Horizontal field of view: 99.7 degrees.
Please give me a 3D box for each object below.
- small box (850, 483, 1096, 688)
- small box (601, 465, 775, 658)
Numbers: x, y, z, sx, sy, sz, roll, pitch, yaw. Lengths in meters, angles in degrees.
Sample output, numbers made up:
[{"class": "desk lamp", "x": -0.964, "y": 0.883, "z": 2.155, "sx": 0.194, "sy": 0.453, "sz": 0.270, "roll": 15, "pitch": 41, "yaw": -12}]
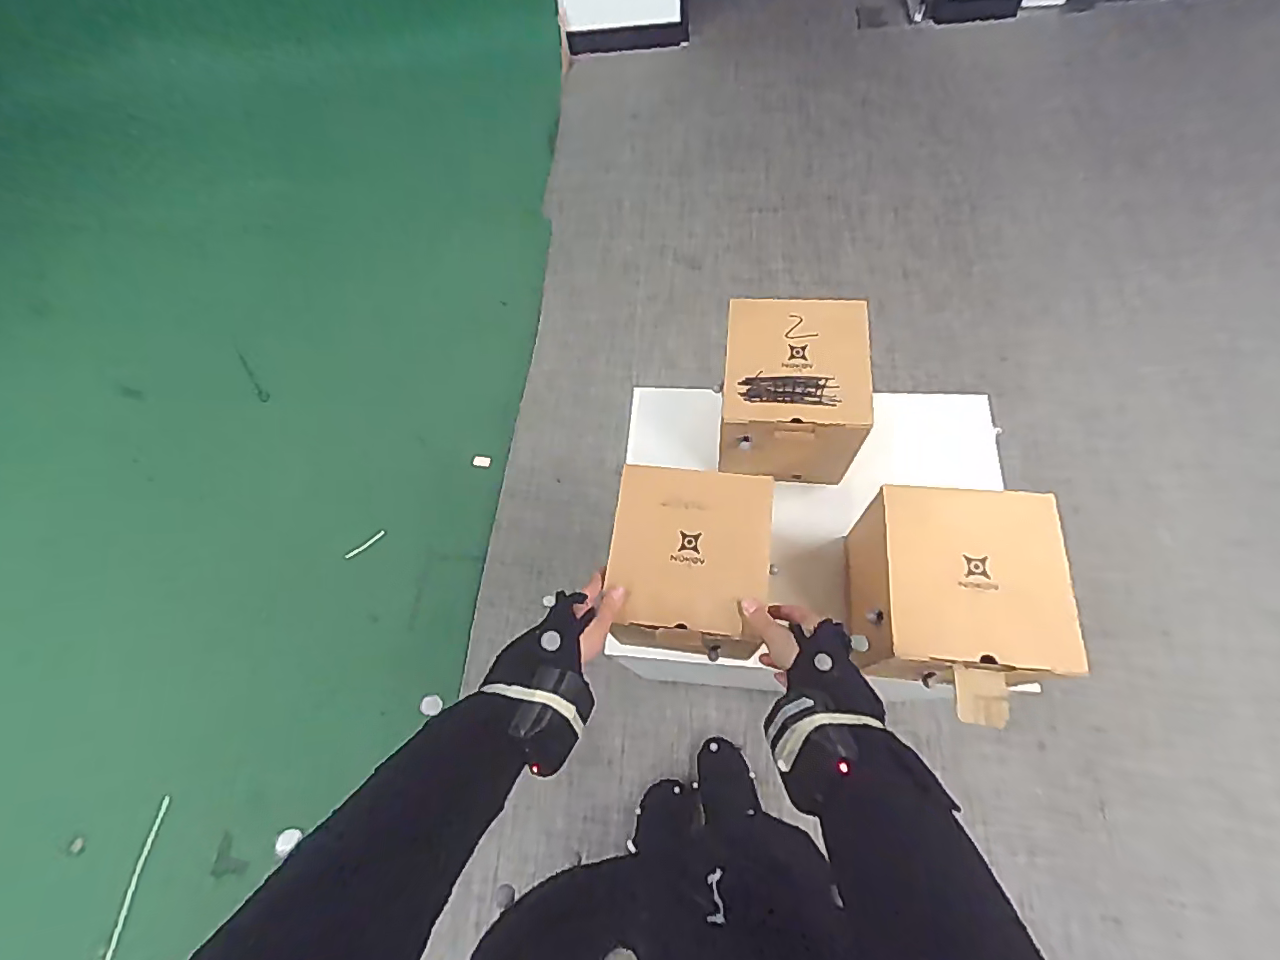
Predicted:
[{"class": "small box", "x": 0.332, "y": 0.120, "z": 0.585, "sx": 0.168, "sy": 0.176, "sz": 0.179, "roll": 3, "pitch": 67, "yaw": 8}, {"class": "small box", "x": 0.059, "y": 0.102, "z": 0.626, "sx": 0.168, "sy": 0.176, "sz": 0.179, "roll": 5, "pitch": 65, "yaw": 7}]
